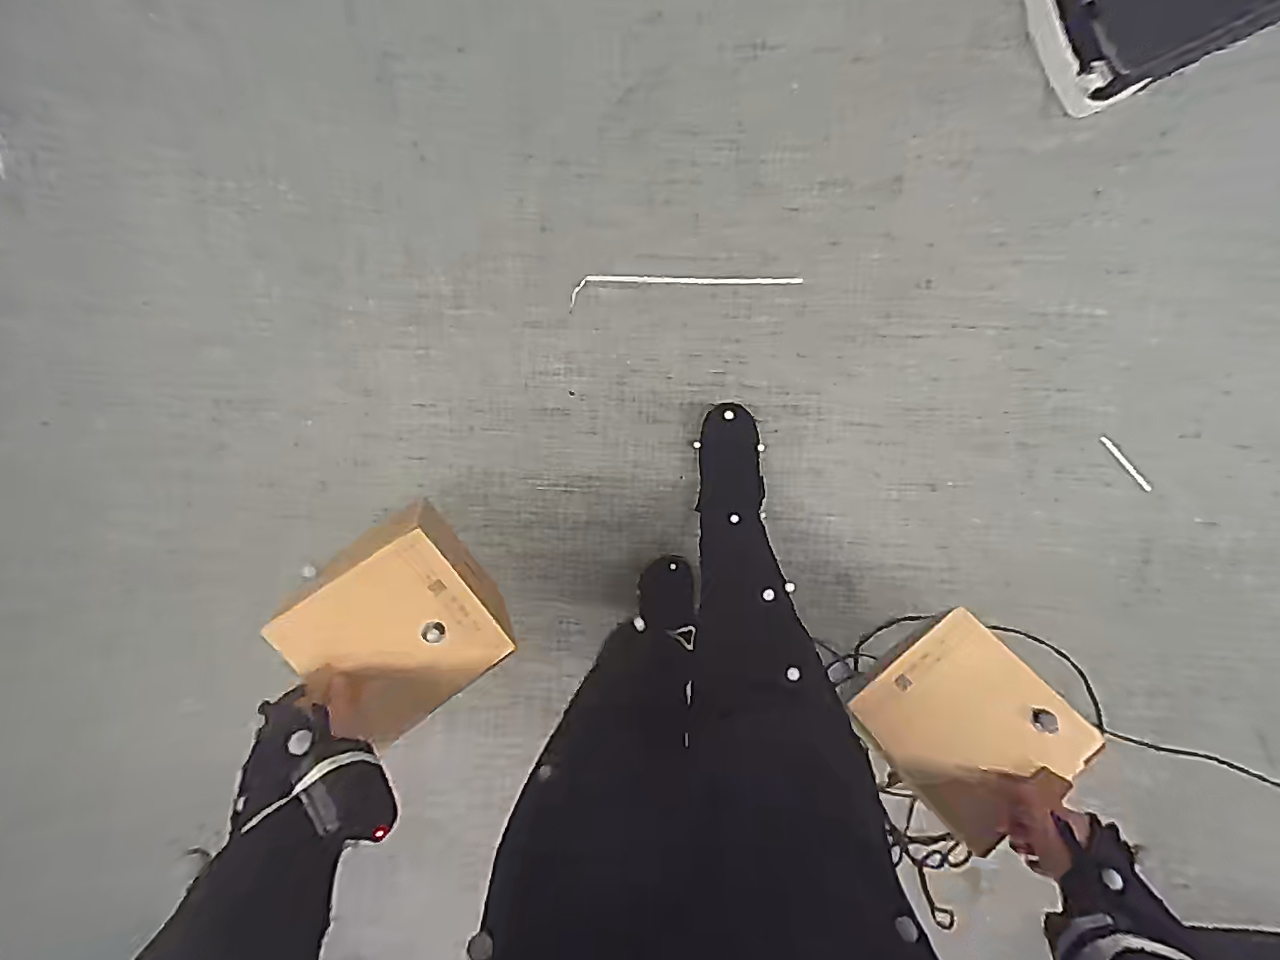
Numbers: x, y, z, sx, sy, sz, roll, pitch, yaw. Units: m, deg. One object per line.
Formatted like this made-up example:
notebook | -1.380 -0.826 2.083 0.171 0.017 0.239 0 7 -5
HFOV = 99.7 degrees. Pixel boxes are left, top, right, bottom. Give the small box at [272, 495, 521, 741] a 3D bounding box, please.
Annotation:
small box | -0.250 0.134 0.598 0.176 0.179 0.168 -34 107 -11
